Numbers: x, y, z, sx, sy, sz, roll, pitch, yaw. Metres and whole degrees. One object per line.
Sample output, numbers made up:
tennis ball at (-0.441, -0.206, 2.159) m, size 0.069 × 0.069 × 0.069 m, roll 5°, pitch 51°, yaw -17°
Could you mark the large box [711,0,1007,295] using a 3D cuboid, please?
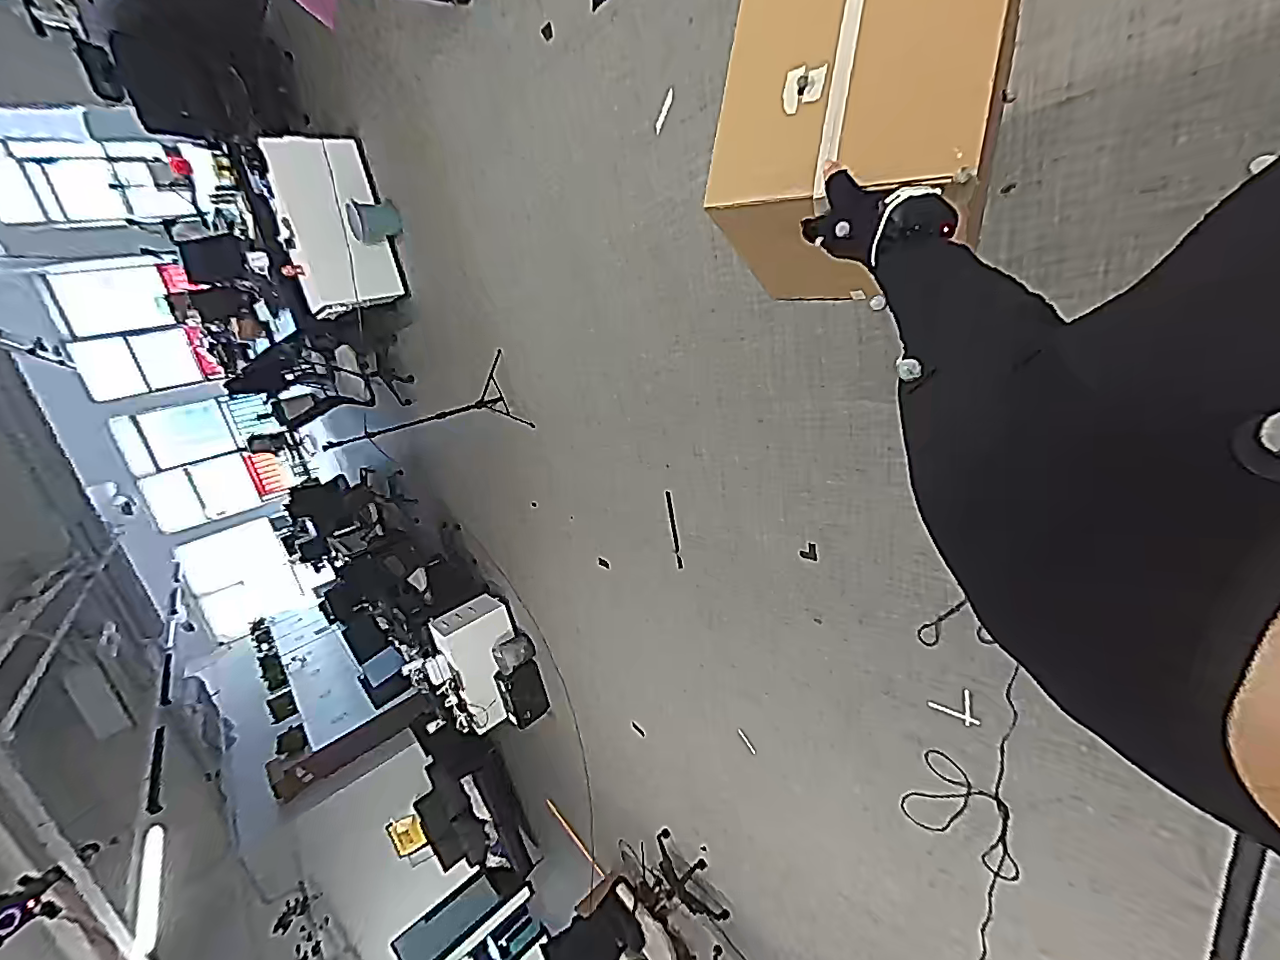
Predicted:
large box at (0.328, -0.522, 0.780) m, size 0.320 × 0.320 × 0.408 m, roll 10°, pitch 90°, yaw 31°
